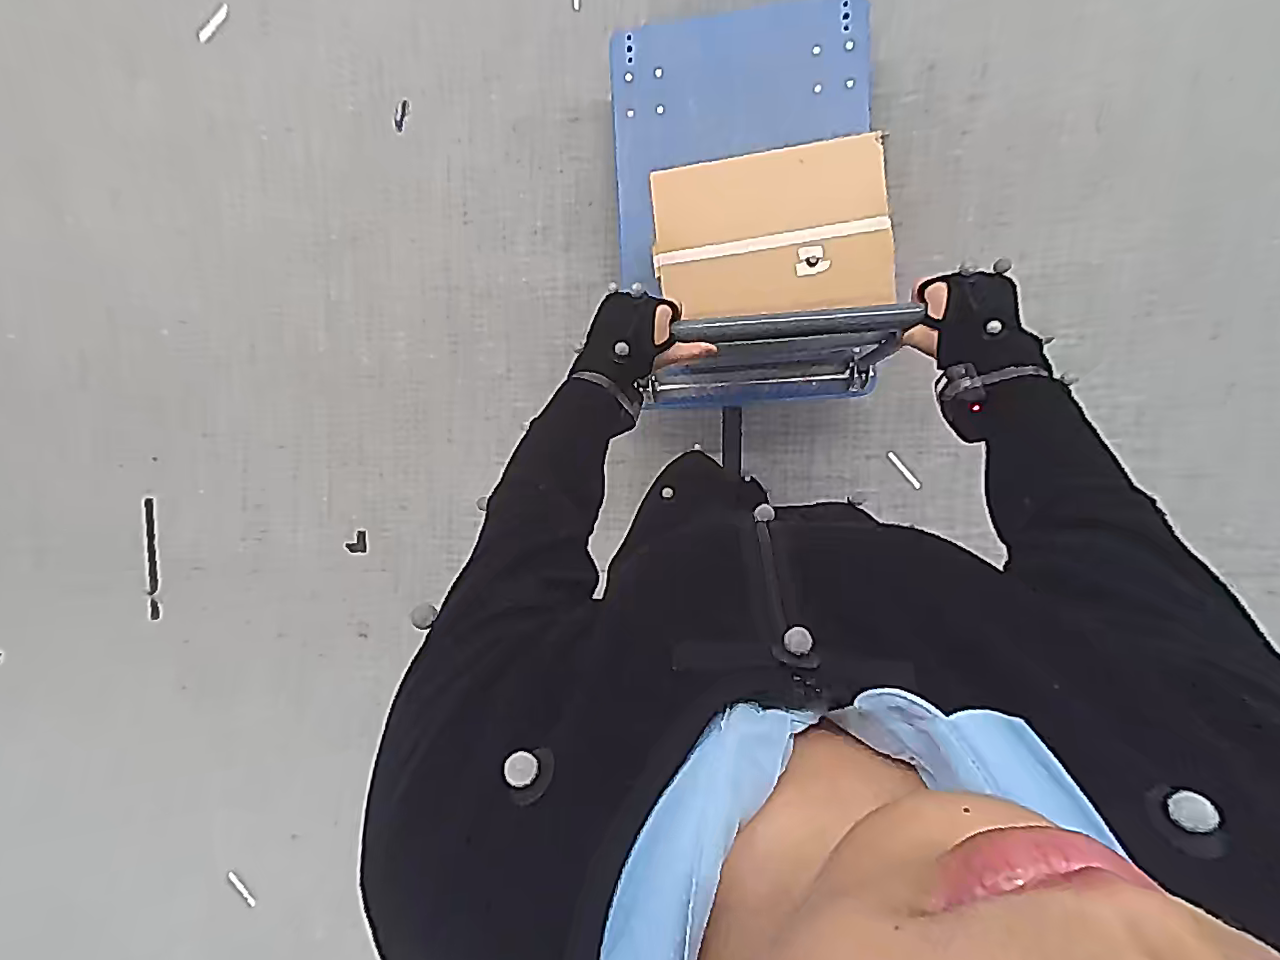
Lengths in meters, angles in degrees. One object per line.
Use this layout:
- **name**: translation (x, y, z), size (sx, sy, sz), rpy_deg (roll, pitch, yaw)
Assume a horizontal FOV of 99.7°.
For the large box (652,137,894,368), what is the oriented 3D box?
- **large box**: translation (0.251, -0.431, 1.118), size (0.408, 0.320, 0.320), rpy_deg (-6, 94, 7)
